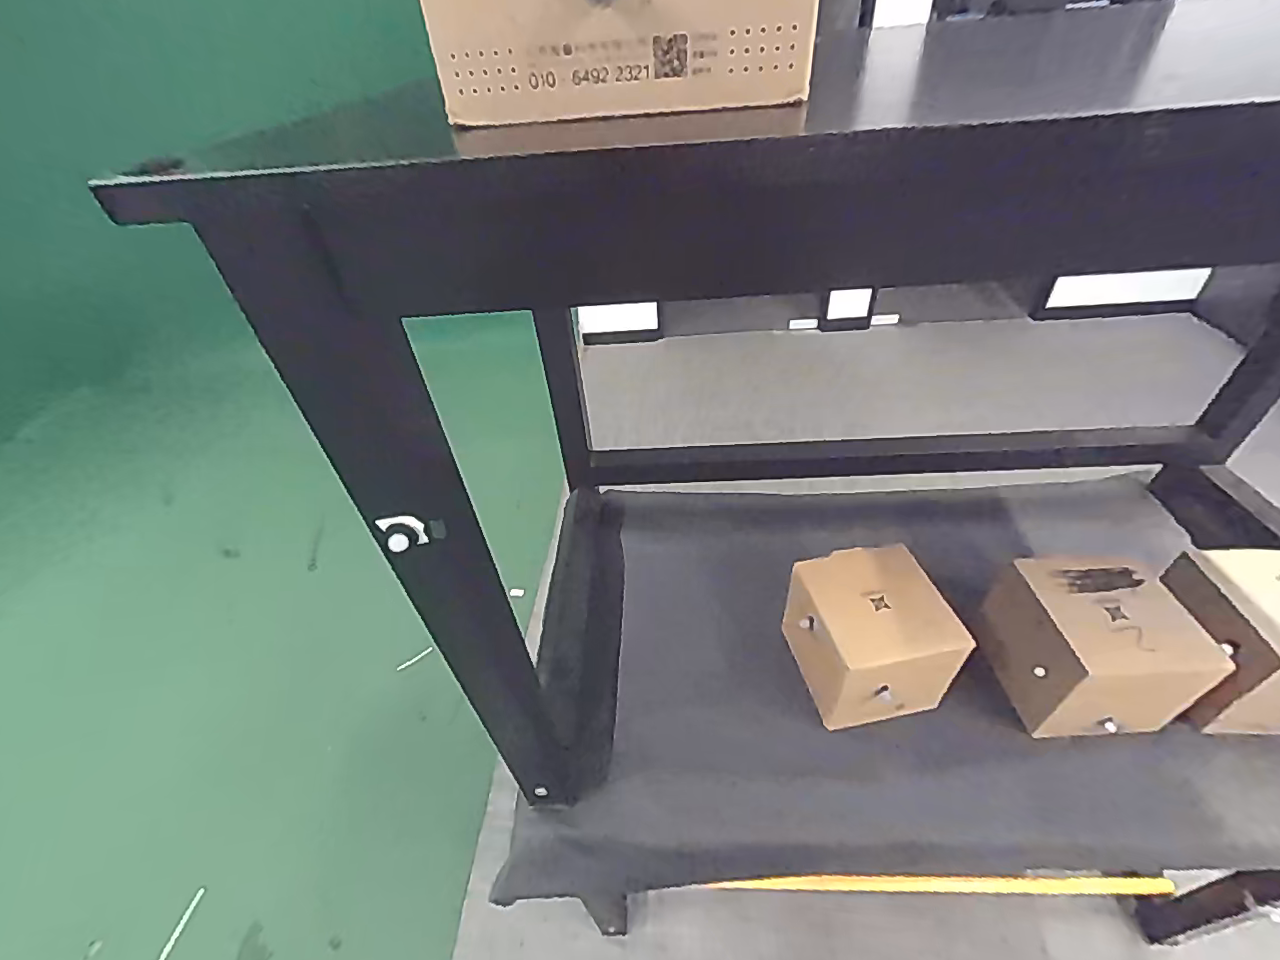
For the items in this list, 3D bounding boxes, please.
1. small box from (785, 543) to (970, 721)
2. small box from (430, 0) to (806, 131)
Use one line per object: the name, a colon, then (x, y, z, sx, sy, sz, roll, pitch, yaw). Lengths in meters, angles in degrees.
small box: (0.318, 0.220, 0.767, 0.168, 0.176, 0.179, -9, 41, -5)
small box: (-0.011, -0.282, 0.264, 0.168, 0.176, 0.179, -2, 42, 4)
